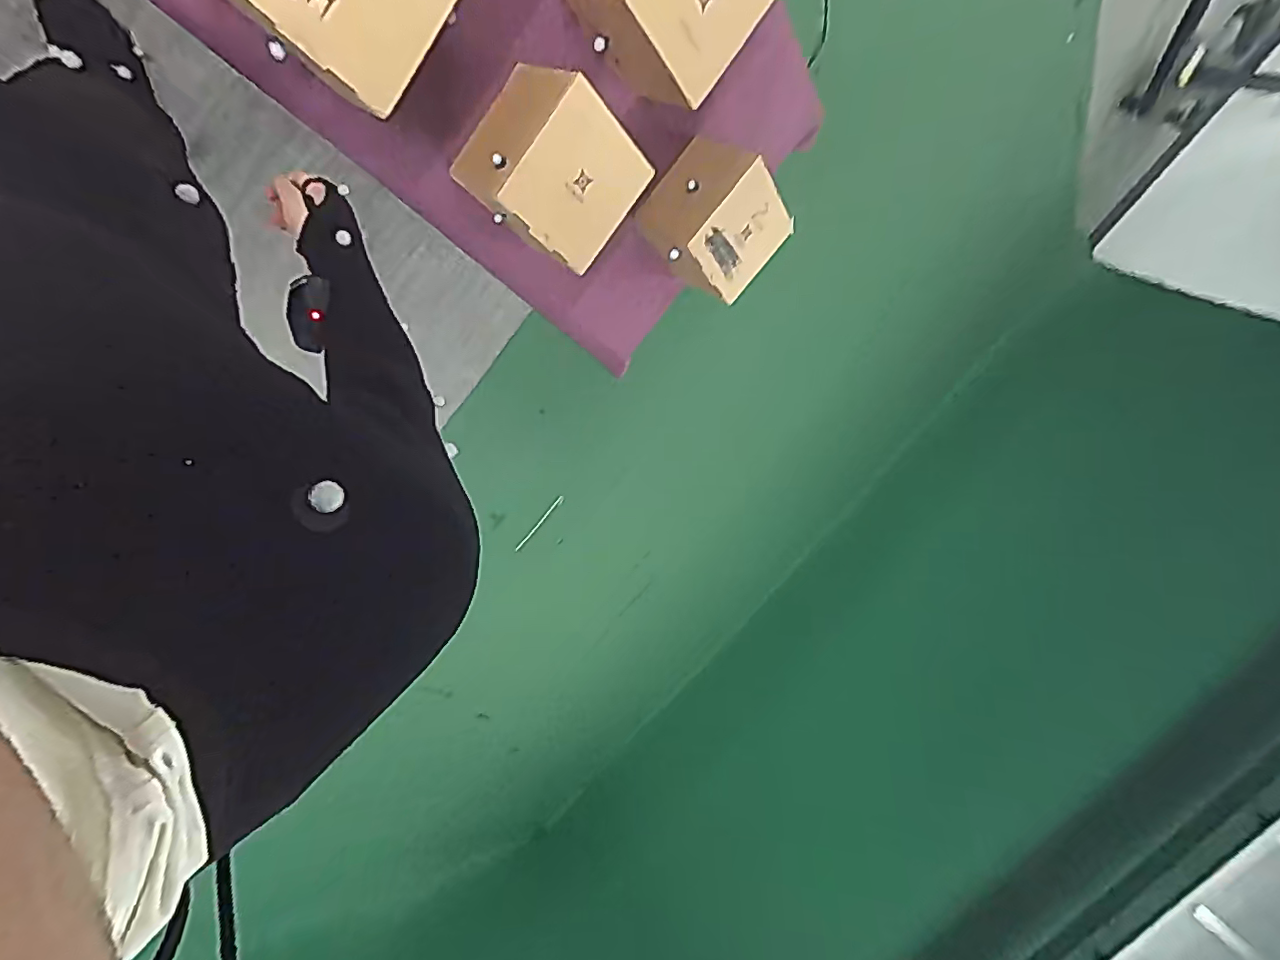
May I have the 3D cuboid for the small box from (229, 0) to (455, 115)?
[{"bbox_3d":[-0.303,-0.505,0.525,0.179,0.176,0.168,-52,141,8],"label":"small box"}]

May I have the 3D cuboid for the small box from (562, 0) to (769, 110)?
[{"bbox_3d":[0.030,-0.637,0.708,0.179,0.176,0.168,-50,141,10],"label":"small box"}]

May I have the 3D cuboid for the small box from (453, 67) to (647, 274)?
[{"bbox_3d":[-0.130,-0.432,0.755,0.179,0.176,0.168,-51,142,9],"label":"small box"}]
